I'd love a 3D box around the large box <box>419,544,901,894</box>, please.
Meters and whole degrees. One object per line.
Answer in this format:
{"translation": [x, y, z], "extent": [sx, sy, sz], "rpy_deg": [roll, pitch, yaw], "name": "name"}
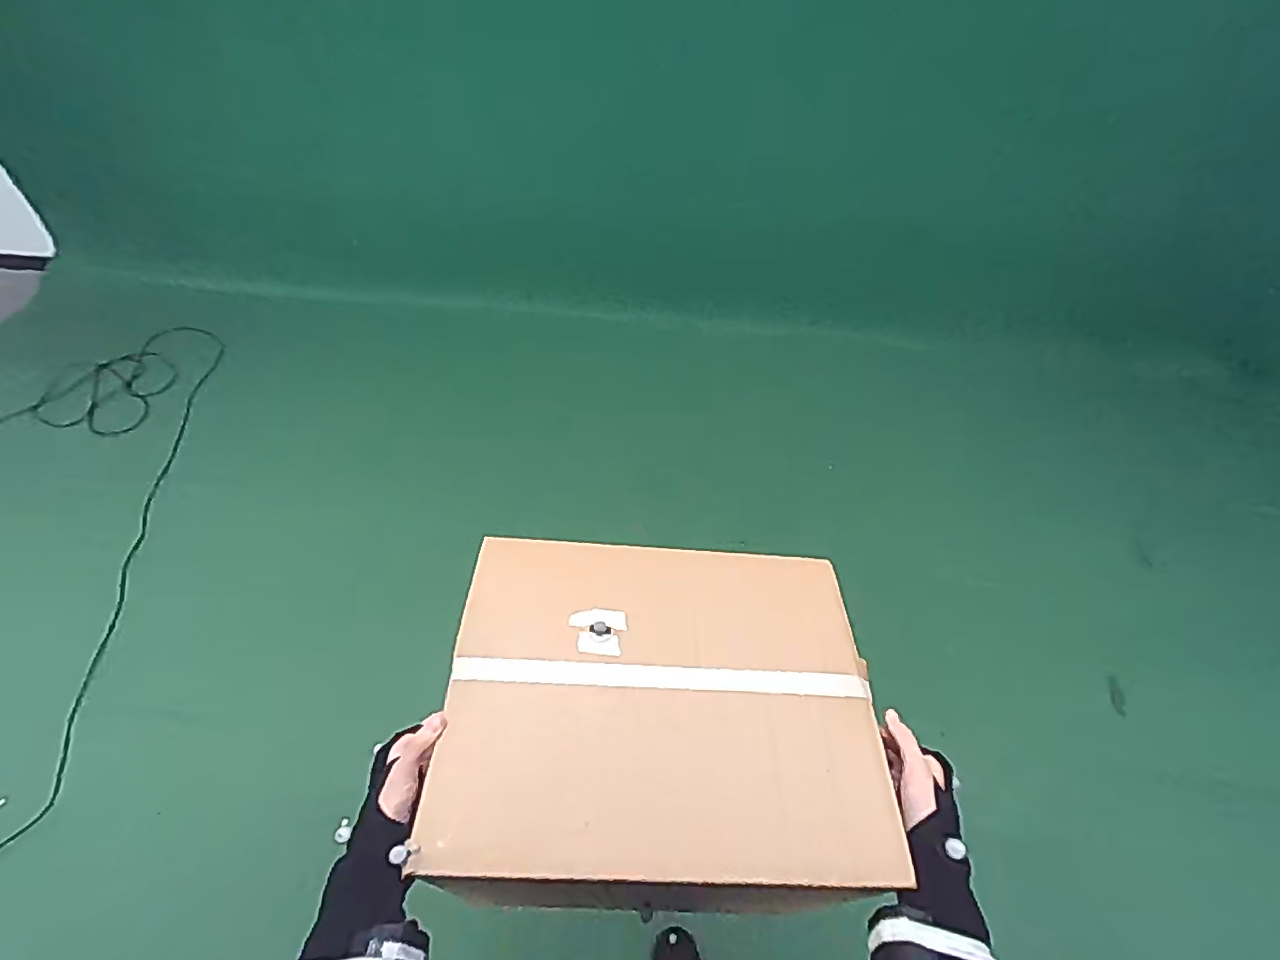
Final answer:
{"translation": [0.013, 0.295, 0.647], "extent": [0.408, 0.320, 0.320], "rpy_deg": [4, 48, -3], "name": "large box"}
